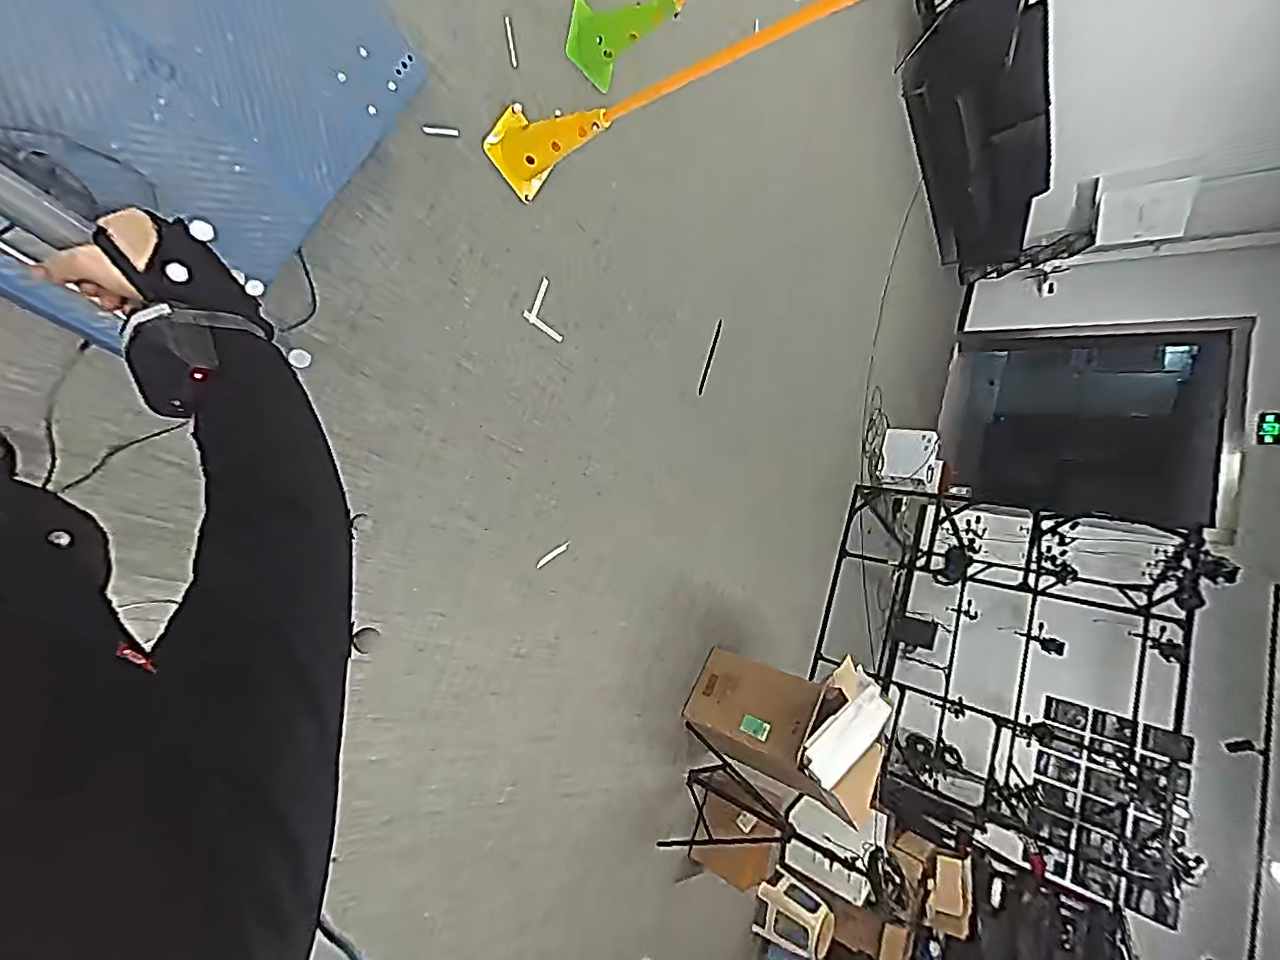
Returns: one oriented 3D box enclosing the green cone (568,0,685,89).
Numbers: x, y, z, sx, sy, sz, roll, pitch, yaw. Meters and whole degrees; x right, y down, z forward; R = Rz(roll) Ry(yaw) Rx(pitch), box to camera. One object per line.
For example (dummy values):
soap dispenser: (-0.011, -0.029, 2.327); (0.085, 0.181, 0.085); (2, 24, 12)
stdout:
green cone: (-0.021, -1.413, 1.669); (0.200, 0.368, 0.202); (11, 89, -51)
